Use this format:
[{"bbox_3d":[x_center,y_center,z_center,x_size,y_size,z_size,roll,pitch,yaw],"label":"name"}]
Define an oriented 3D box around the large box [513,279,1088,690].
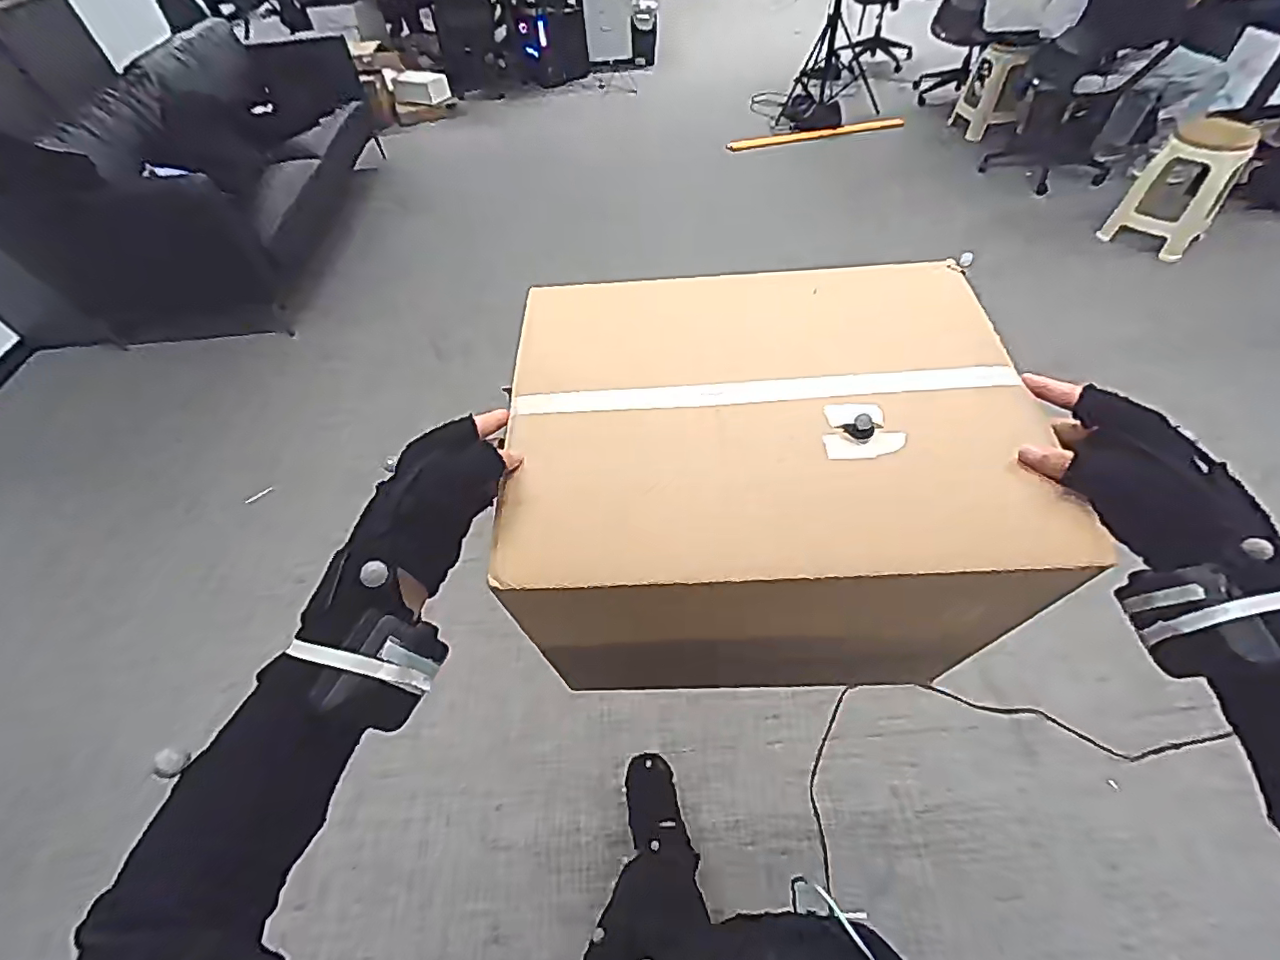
[{"bbox_3d":[0.109,0.022,0.574,0.408,0.320,0.320,-3,57,2],"label":"large box"}]
